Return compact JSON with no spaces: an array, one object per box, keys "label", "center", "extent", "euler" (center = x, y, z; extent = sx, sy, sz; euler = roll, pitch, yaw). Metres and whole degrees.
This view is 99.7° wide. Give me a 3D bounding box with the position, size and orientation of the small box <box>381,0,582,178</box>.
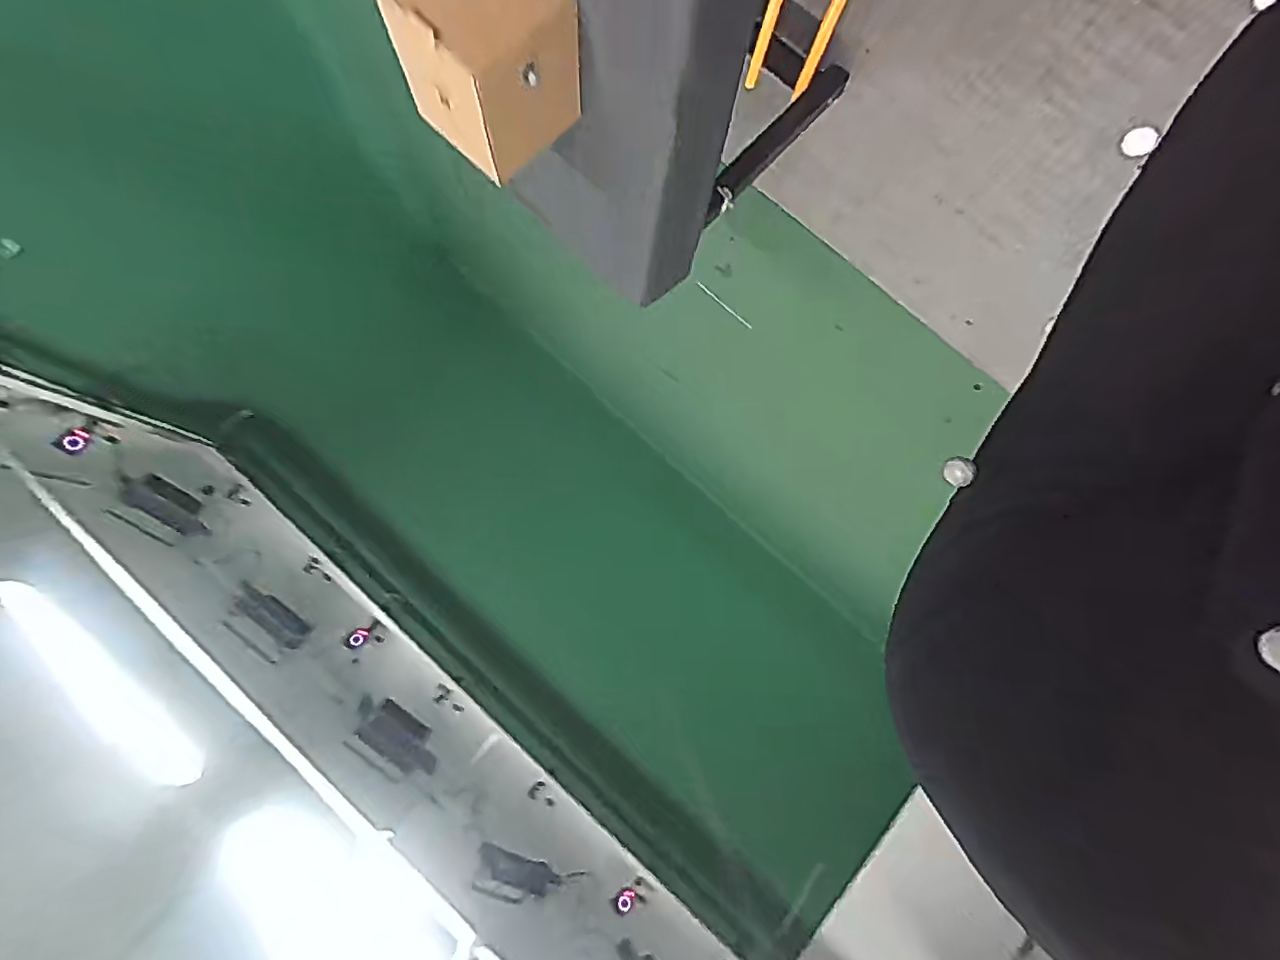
[{"label":"small box","center":[-0.189,-0.549,0.692],"extent":[0.168,0.176,0.179],"euler":[44,170,4]}]
